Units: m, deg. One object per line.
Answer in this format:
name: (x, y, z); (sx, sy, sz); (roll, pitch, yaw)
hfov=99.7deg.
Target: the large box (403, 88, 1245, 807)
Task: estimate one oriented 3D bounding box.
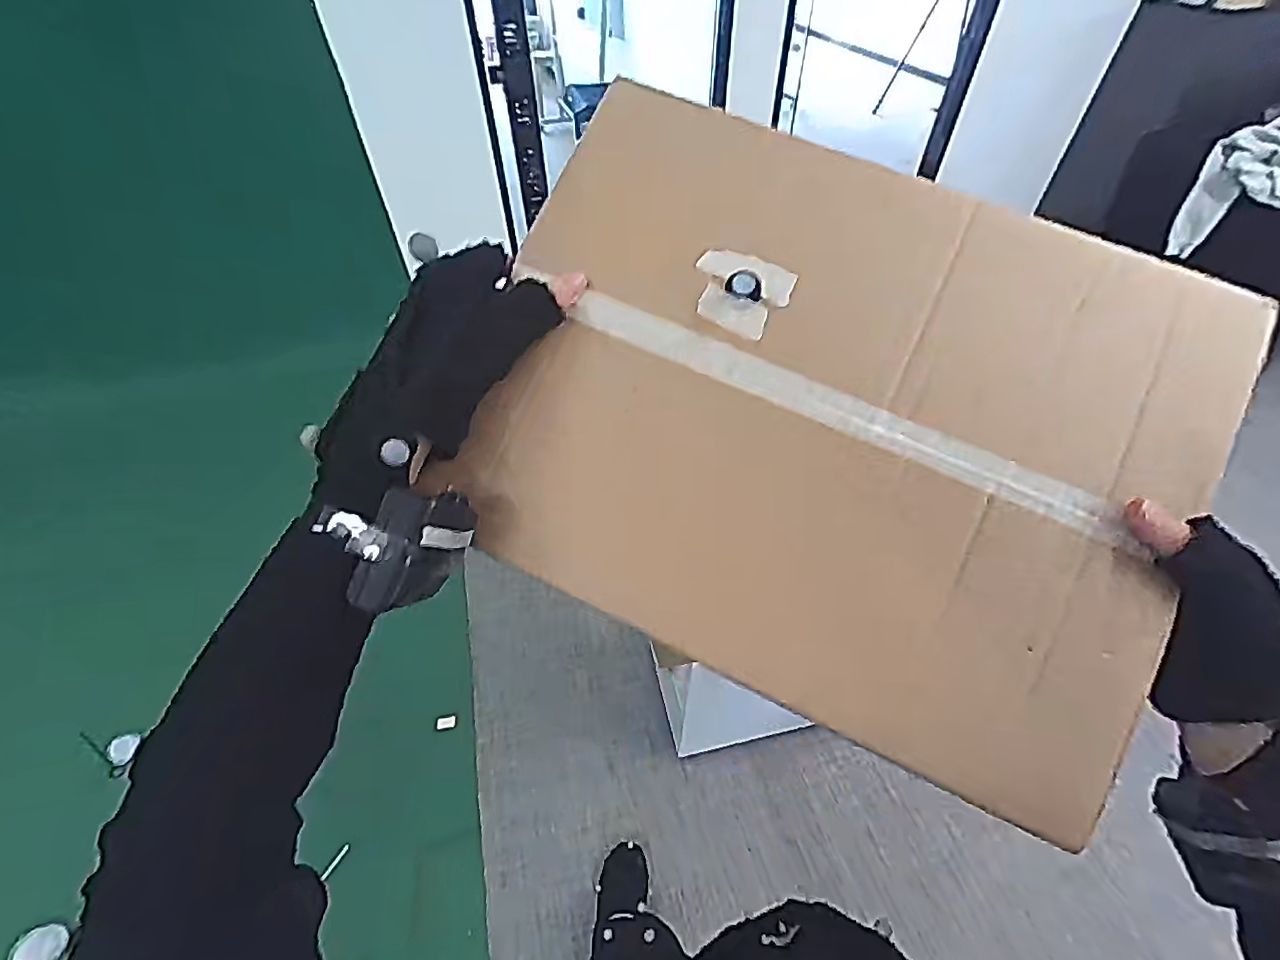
large box: (0.110, -0.027, 0.463); (0.408, 0.320, 0.320); (25, 85, 10)
